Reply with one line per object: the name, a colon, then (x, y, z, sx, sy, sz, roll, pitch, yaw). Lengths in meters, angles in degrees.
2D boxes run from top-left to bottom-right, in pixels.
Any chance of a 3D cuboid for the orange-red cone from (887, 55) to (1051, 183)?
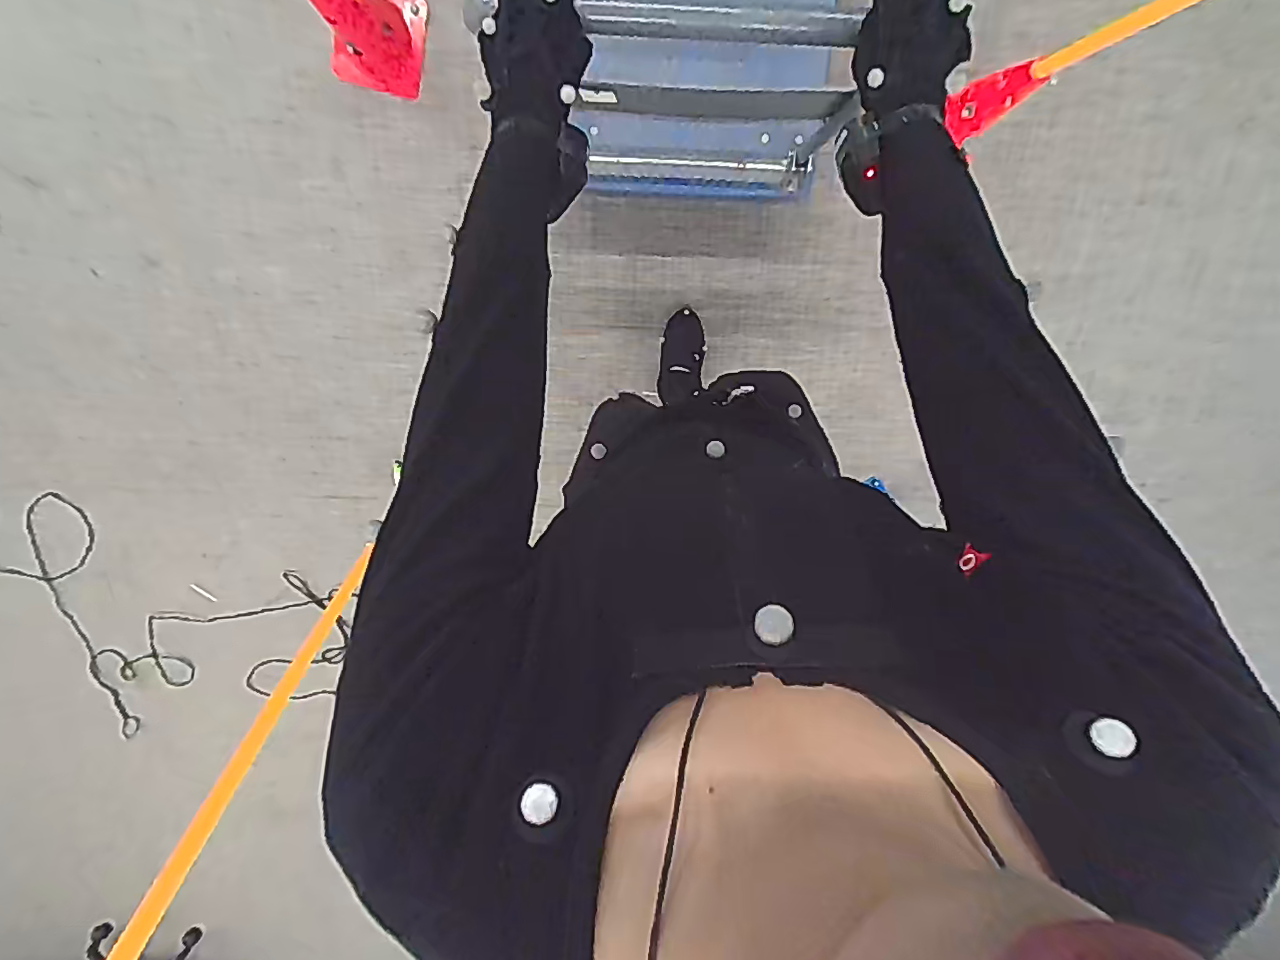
orange-red cone: (0.687, -0.756, 1.086, 0.198, 0.360, 0.199, 13, 109, -3)
